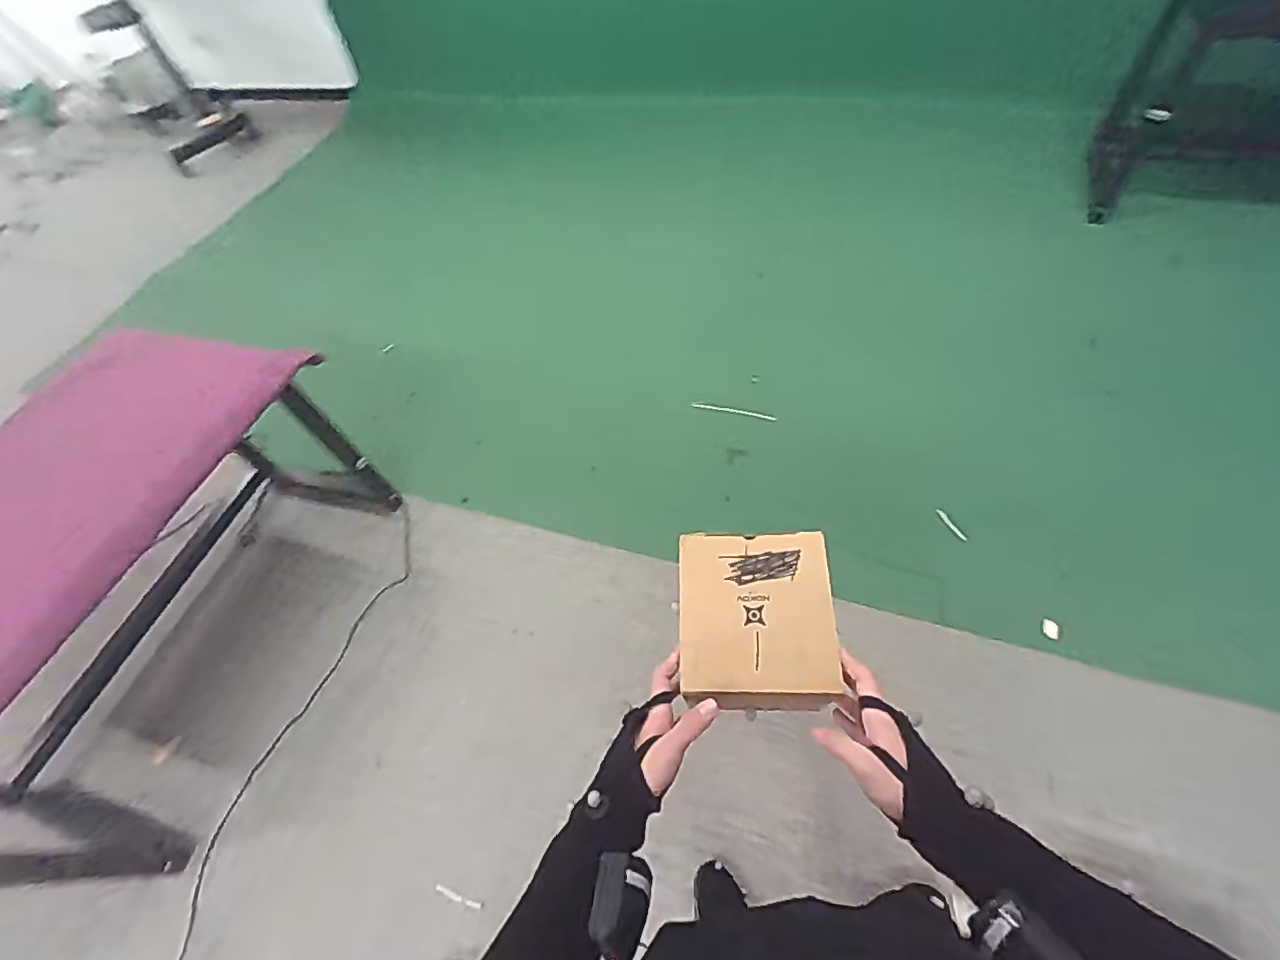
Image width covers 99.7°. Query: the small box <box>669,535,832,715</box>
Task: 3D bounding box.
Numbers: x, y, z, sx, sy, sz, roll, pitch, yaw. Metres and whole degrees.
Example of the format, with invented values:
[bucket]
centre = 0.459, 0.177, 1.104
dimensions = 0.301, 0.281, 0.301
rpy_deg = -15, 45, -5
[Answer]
[small box]
centre = 0.123, 0.180, 0.654
dimensions = 0.168, 0.176, 0.179
rpy_deg = -2, 62, 8
